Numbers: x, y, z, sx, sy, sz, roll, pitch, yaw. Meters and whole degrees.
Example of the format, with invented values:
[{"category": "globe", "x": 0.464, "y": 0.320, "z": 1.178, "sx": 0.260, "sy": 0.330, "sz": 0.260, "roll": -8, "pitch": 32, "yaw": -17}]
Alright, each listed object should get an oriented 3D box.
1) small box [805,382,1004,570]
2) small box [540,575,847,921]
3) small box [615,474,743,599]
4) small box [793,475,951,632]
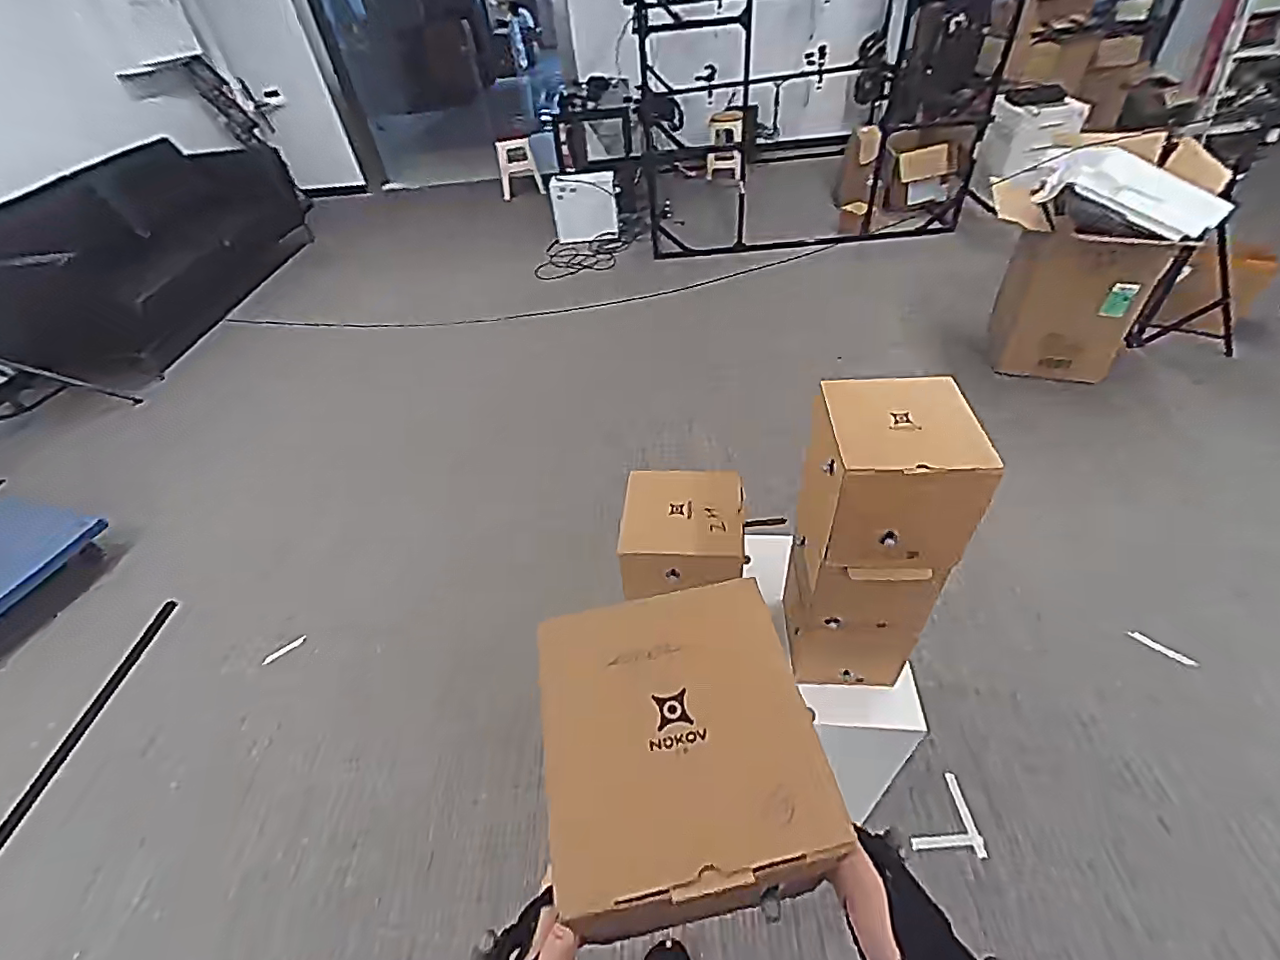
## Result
[{"category": "small box", "x": 0.313, "y": -0.007, "z": 0.688, "sx": 0.168, "sy": 0.176, "sz": 0.179, "roll": -1, "pitch": 44, "yaw": 6}, {"category": "small box", "x": 0.027, "y": 0.201, "z": 0.400, "sx": 0.168, "sy": 0.176, "sz": 0.179, "roll": -10, "pitch": 46, "yaw": -4}, {"category": "small box", "x": 0.067, "y": 0.107, "z": 0.834, "sx": 0.179, "sy": 0.176, "sz": 0.168, "roll": 1, "pitch": 45, "yaw": 8}, {"category": "small box", "x": 0.327, "y": 0.109, "z": 0.801, "sx": 0.168, "sy": 0.176, "sz": 0.179, "roll": -1, "pitch": 43, "yaw": 7}]
